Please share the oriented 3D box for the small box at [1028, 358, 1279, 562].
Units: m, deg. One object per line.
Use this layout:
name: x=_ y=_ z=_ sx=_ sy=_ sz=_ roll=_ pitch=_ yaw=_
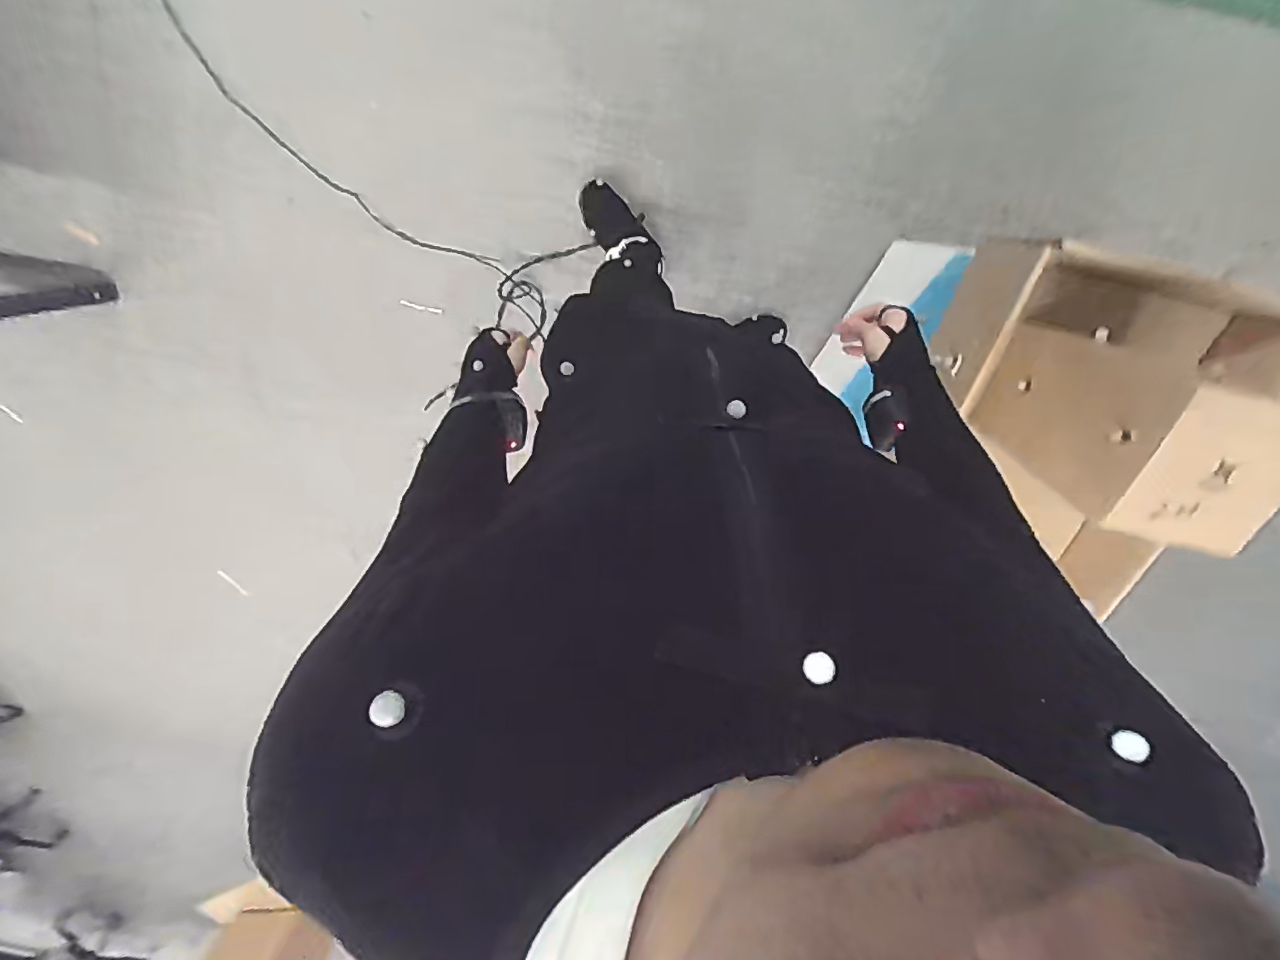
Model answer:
small box: x=0.625 y=-0.033 z=0.654 sx=0.168 sy=0.176 sz=0.179 roll=13 pitch=117 yaw=-2
